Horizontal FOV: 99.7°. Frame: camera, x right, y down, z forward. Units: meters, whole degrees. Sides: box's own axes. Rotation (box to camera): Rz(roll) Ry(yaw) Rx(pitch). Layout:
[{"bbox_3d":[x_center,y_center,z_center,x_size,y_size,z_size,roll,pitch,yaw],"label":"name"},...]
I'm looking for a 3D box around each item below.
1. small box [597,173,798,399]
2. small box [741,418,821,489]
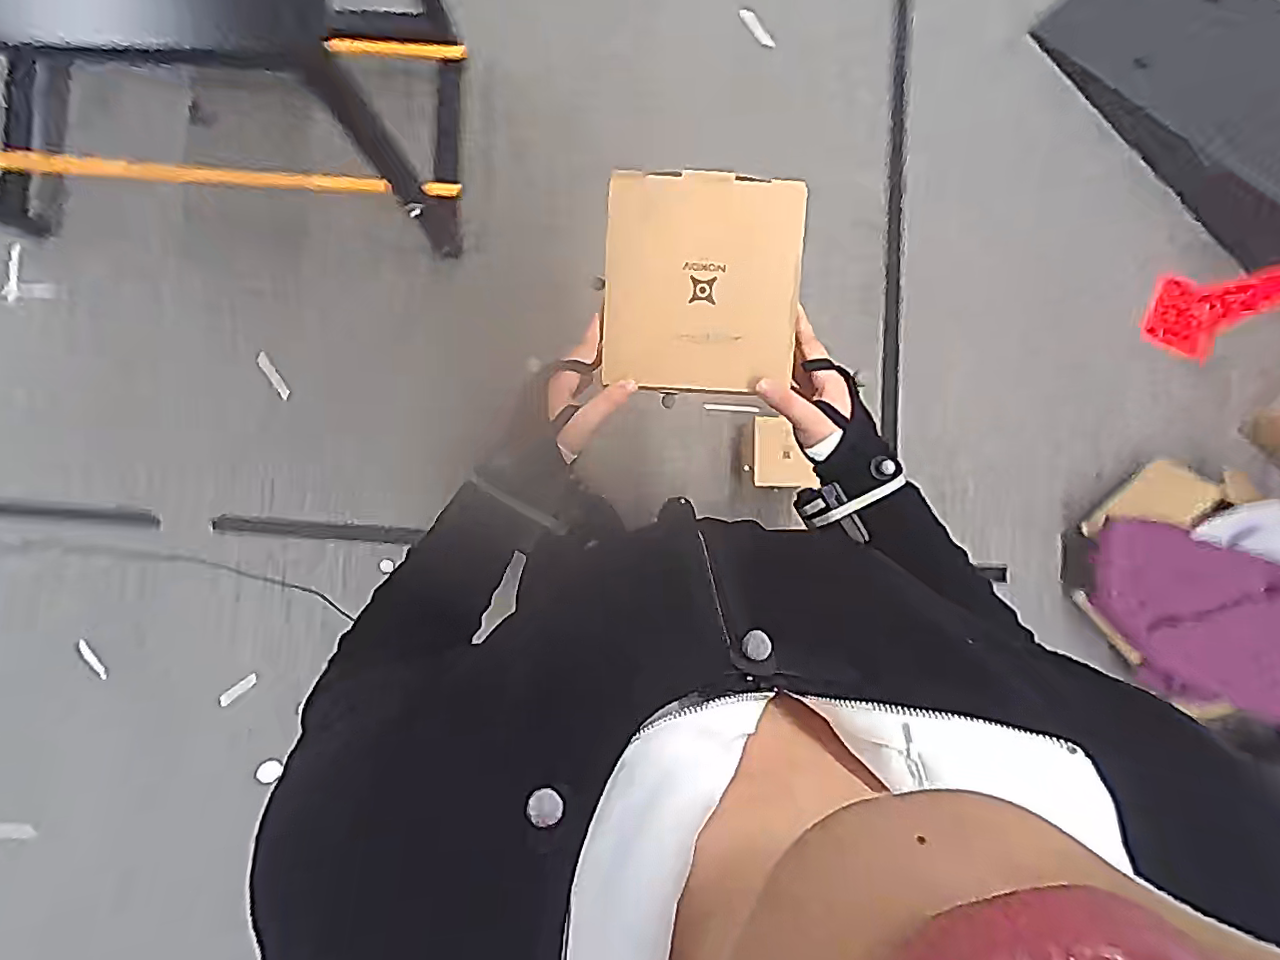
[{"bbox_3d":[0.044,-0.172,0.533,0.168,0.176,0.179,2,99,-2],"label":"small box"},{"bbox_3d":[0.367,-0.067,1.431,0.168,0.176,0.179,1,89,-1],"label":"small box"}]
